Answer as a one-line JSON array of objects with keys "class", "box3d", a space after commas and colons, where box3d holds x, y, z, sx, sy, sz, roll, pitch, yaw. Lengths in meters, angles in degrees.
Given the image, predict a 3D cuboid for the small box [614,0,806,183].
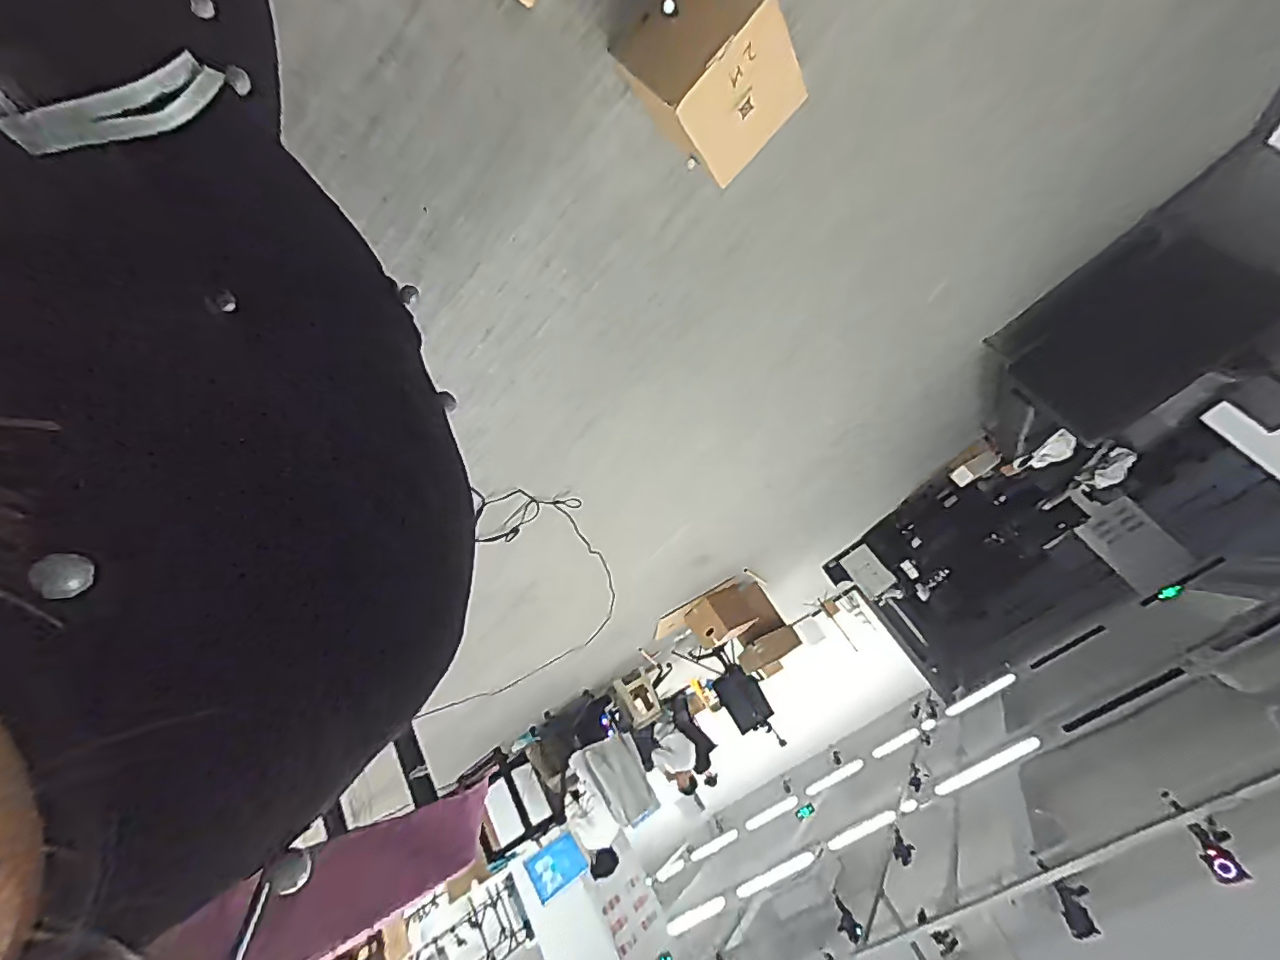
[{"class": "small box", "box3d": [0.098, -0.571, 0.754, 0.168, 0.176, 0.179, -43, 154, 18]}]
